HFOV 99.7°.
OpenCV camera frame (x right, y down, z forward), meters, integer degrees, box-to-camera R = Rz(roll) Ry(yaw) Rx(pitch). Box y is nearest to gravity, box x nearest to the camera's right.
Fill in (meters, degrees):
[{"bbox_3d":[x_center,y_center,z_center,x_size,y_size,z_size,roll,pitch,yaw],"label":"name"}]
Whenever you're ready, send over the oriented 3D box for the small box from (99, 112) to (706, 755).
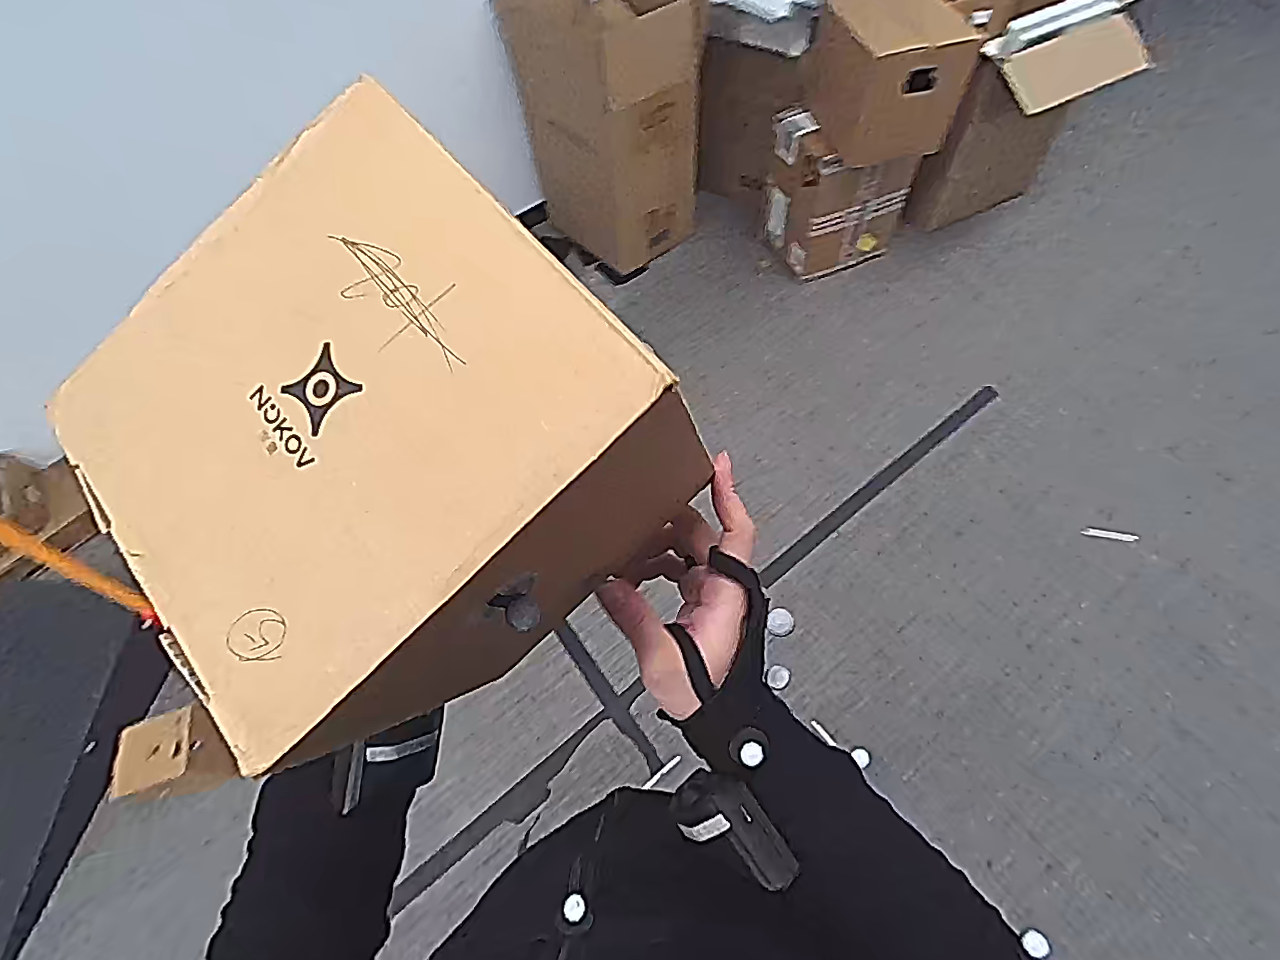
[{"bbox_3d":[-0.084,-0.012,0.267,0.179,0.176,0.168,-43,76,3],"label":"small box"}]
